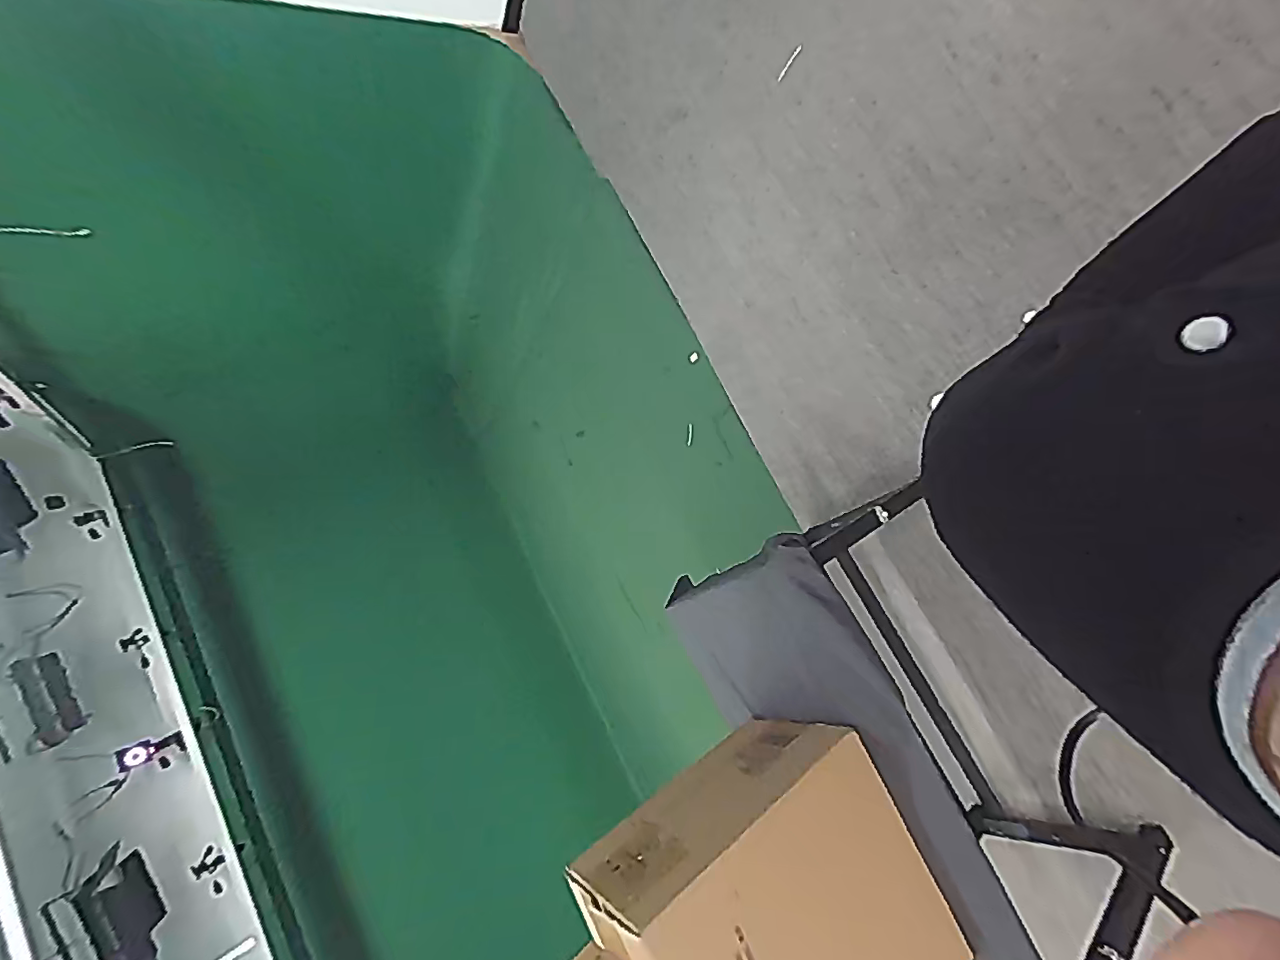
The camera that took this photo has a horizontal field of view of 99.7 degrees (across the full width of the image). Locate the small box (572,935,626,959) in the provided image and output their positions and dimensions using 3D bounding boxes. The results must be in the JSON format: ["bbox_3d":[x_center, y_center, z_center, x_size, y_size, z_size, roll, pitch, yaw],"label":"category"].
[{"bbox_3d":[-0.070,0.991,0.981,0.168,0.176,0.179,-34,81,53],"label":"small box"}]
